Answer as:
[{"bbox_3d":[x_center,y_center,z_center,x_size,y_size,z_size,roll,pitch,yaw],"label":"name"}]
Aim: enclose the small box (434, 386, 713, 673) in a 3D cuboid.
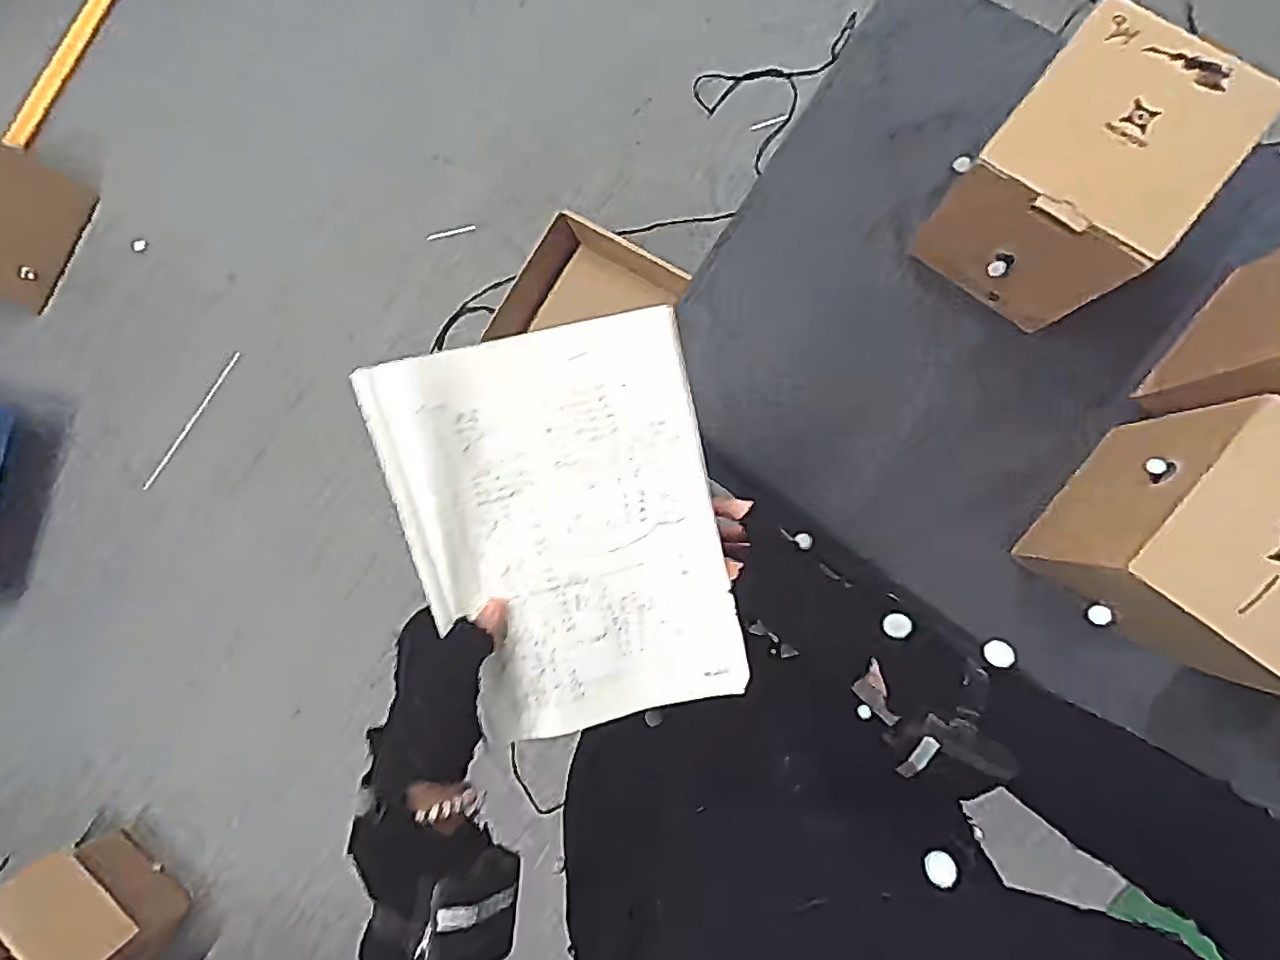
[{"bbox_3d":[-0.048,0.035,0.476,0.168,0.176,0.179,-19,91,-1],"label":"small box"}]
